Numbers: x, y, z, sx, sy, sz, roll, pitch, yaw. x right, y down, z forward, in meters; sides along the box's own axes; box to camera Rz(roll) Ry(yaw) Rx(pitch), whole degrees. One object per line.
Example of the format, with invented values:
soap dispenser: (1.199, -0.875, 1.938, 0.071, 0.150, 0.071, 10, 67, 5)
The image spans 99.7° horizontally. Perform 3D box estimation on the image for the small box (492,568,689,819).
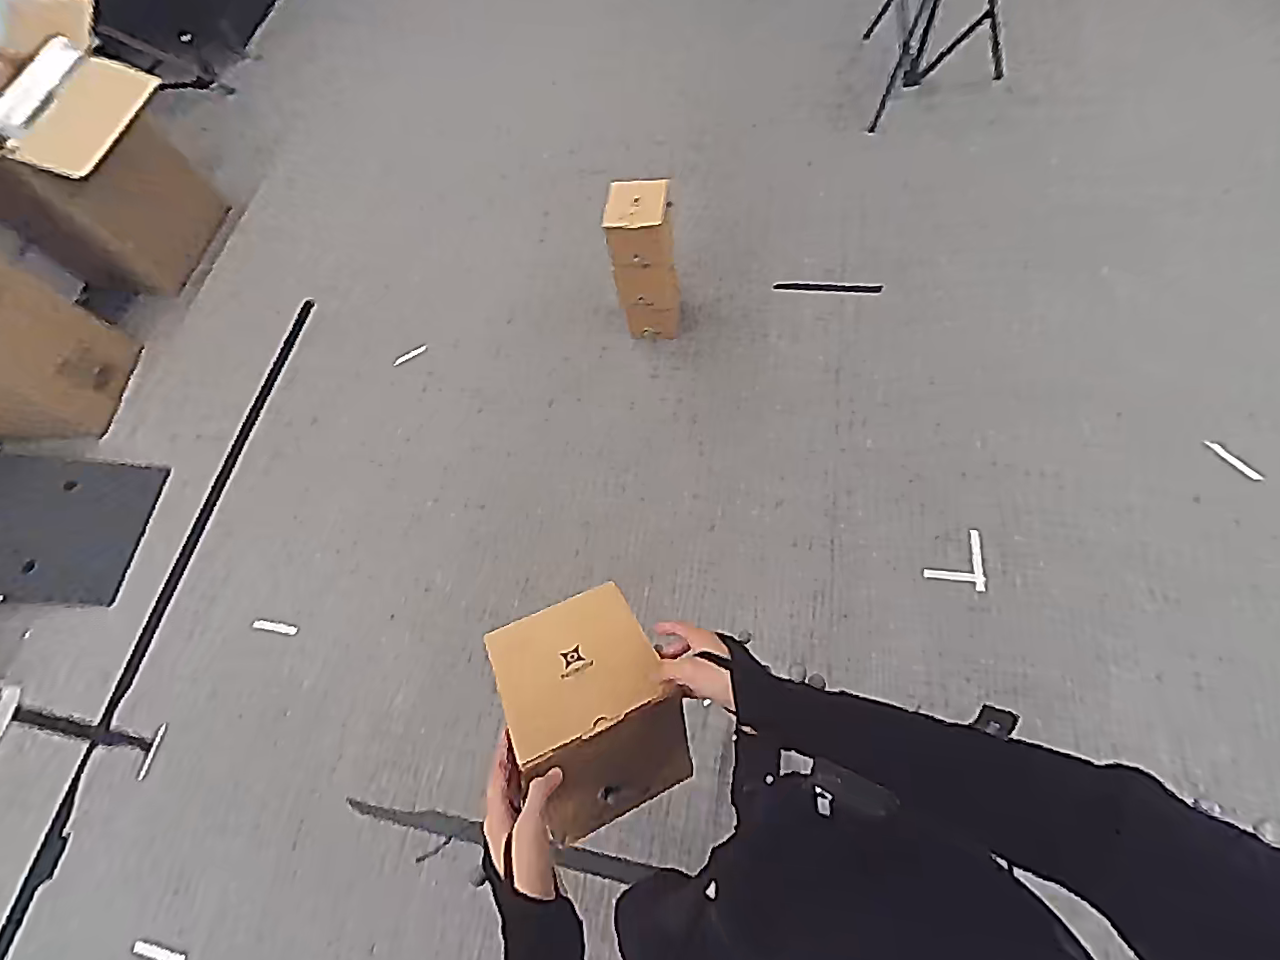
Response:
small box: (-0.056, 0.239, 0.623, 0.168, 0.176, 0.179, -20, 36, -16)

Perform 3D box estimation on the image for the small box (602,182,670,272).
small box: (-0.005, -0.736, 1.578, 0.168, 0.176, 0.179, 4, 68, 10)

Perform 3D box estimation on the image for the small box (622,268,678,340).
small box: (0.040, -0.613, 1.879, 0.168, 0.176, 0.179, 4, 67, 10)
